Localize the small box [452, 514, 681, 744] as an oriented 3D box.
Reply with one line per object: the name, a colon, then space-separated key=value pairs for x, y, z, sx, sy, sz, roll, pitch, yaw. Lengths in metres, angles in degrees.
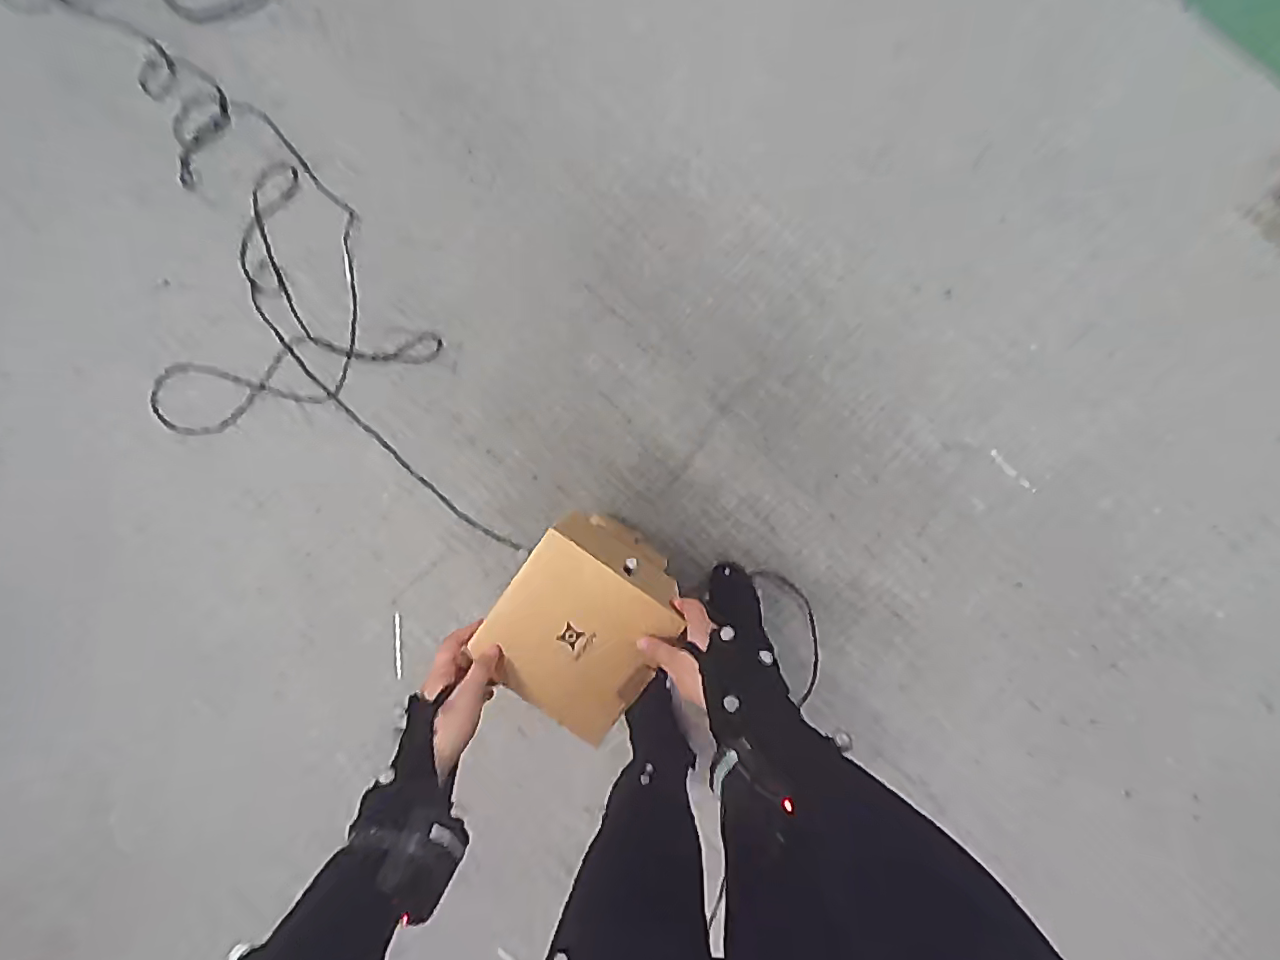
small box: x=-0.077 y=0.153 z=0.624 sx=0.179 sy=0.176 sz=0.168 roll=35 pitch=93 yaw=-4

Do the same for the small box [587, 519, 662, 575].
small box: x=-0.069 y=0.189 z=1.117 sx=0.179 sy=0.176 sz=0.168 roll=36 pitch=89 yaw=4
